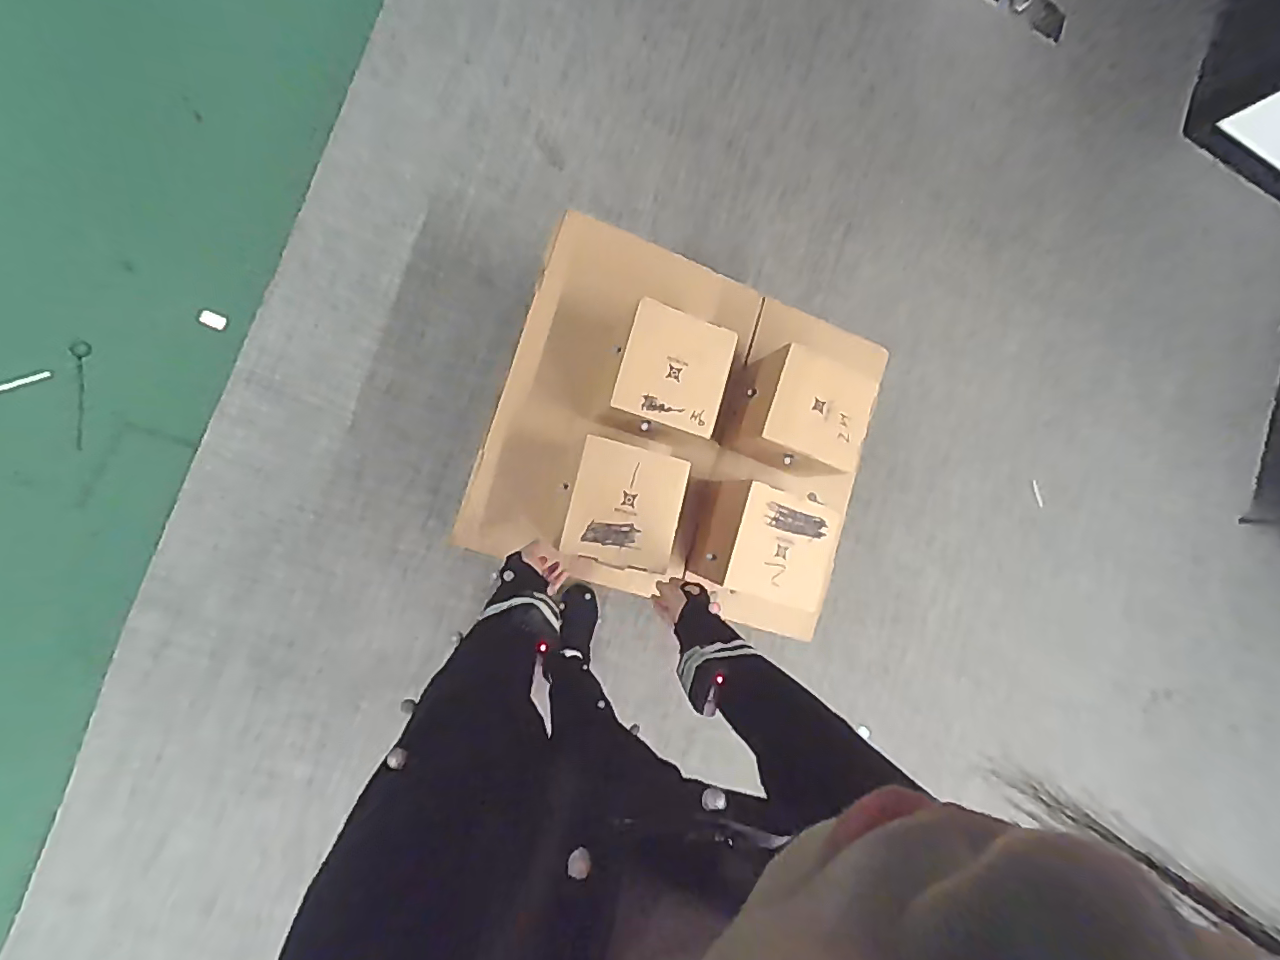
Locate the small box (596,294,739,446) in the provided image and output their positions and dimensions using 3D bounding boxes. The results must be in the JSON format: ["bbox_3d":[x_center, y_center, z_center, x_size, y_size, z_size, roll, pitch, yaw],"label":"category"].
[{"bbox_3d":[0.035,-0.166,0.880,0.168,0.176,0.179,17,84,-12],"label":"small box"}]

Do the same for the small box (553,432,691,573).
[{"bbox_3d":[-0.038,0.036,0.859,0.168,0.176,0.179,15,85,-14],"label":"small box"}]
